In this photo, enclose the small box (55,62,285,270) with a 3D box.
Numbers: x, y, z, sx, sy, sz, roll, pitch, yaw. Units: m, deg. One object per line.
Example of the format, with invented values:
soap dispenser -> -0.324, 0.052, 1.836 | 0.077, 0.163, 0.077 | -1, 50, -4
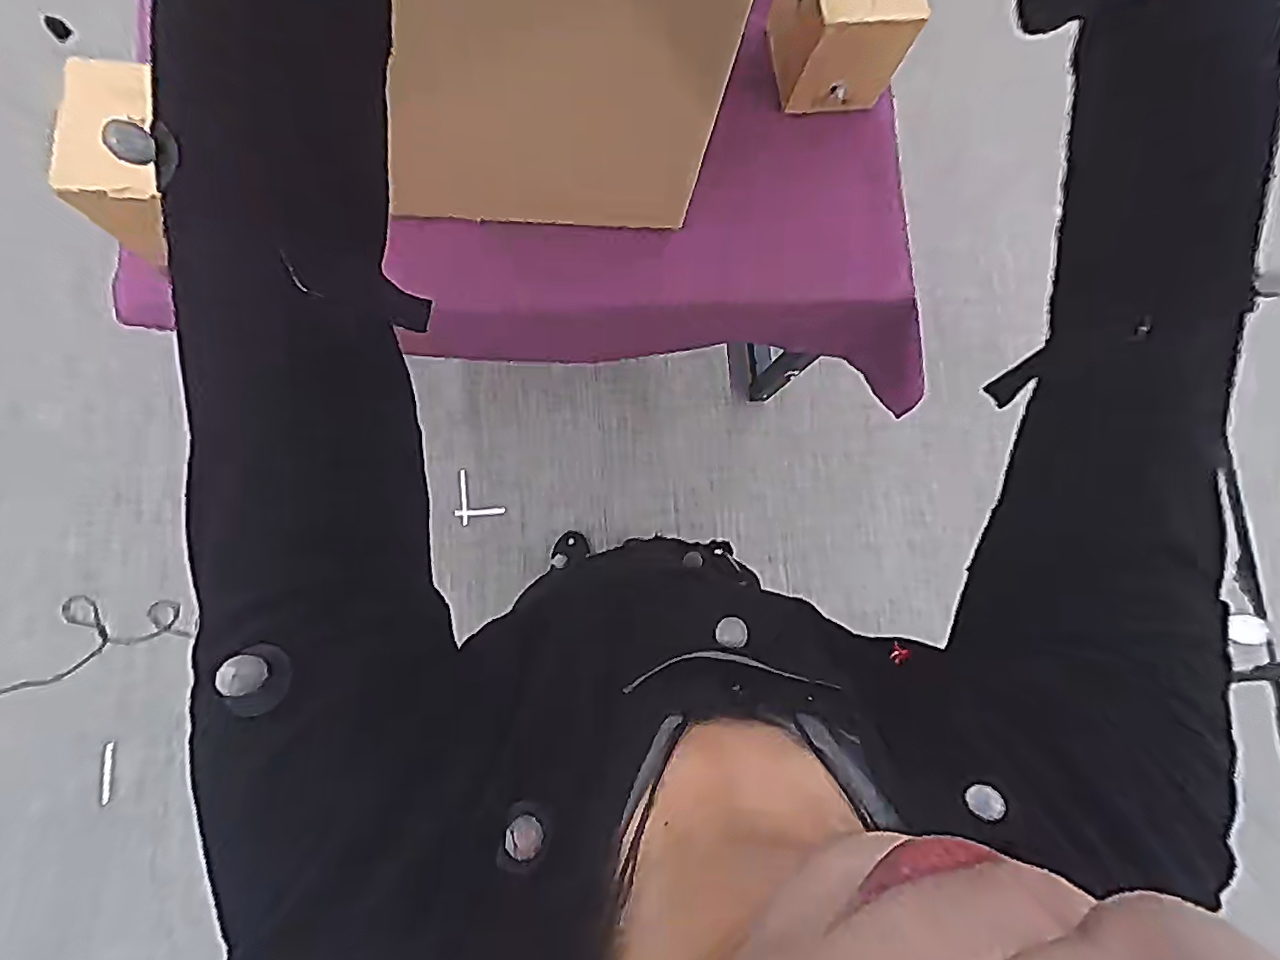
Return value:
small box -> -0.607, -0.404, 0.725 | 0.168, 0.176, 0.179 | -1, 80, -9
